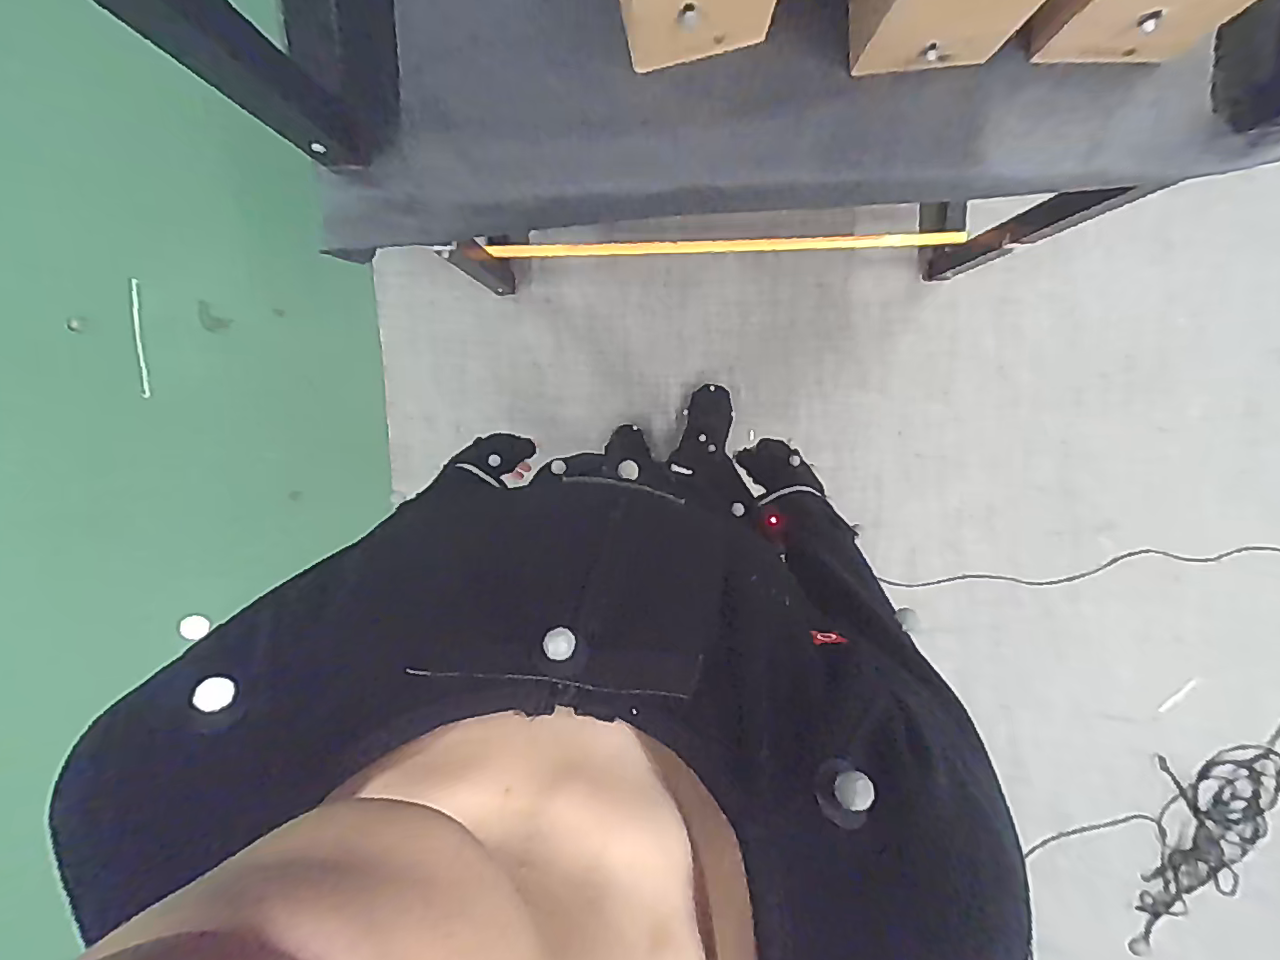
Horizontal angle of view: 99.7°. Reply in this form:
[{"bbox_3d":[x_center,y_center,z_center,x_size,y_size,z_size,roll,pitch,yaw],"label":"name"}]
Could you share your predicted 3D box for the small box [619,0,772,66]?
[{"bbox_3d":[0.054,-0.591,0.584,0.168,0.176,0.179,-12,97,3],"label":"small box"}]
